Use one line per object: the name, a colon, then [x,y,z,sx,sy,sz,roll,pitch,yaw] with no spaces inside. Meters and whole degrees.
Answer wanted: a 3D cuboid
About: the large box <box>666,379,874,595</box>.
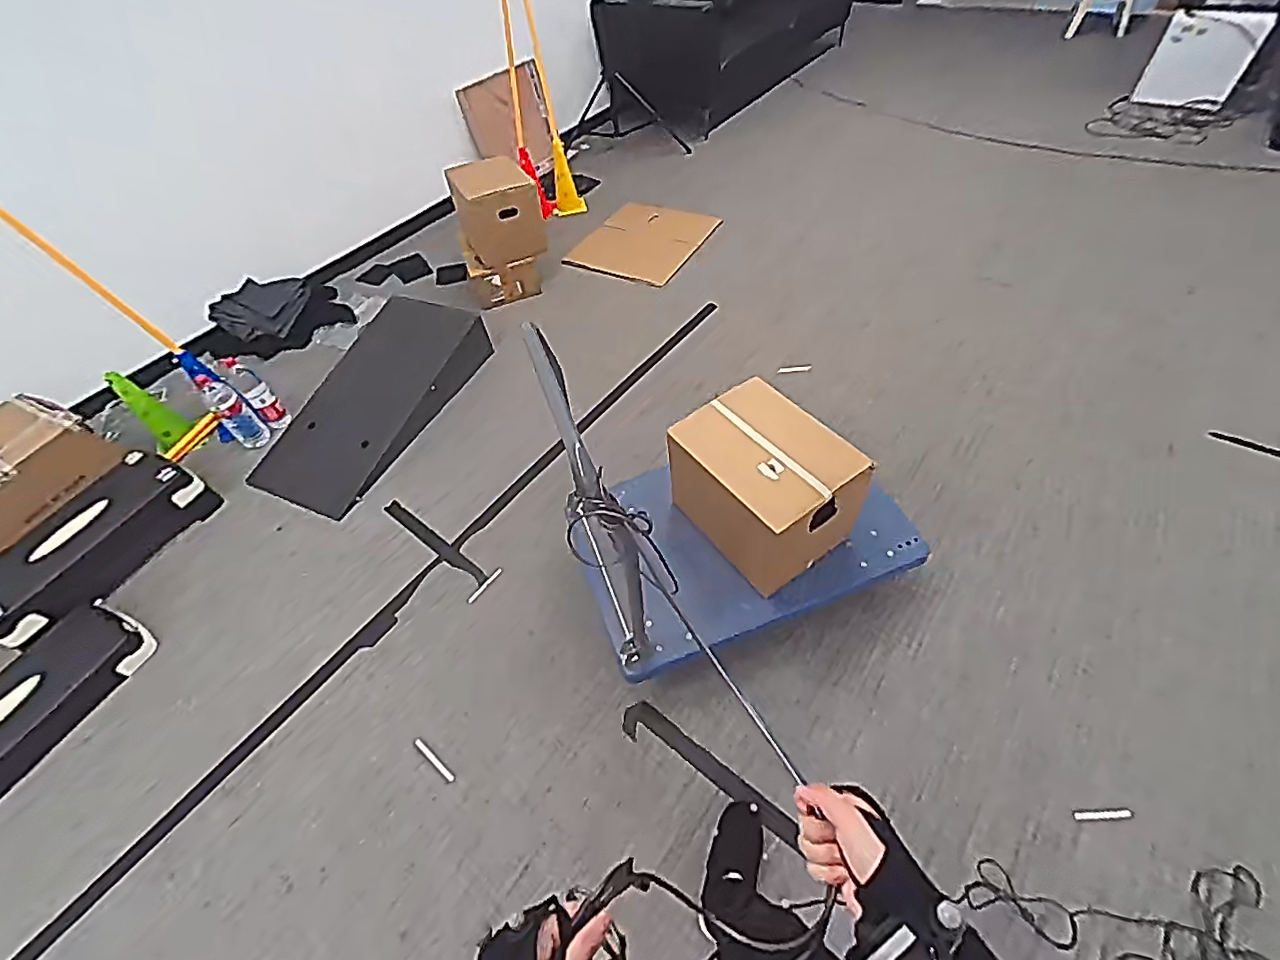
large box: [0.311,0.014,1.412,0.320,0.320,0.408,-33,56,-17]
